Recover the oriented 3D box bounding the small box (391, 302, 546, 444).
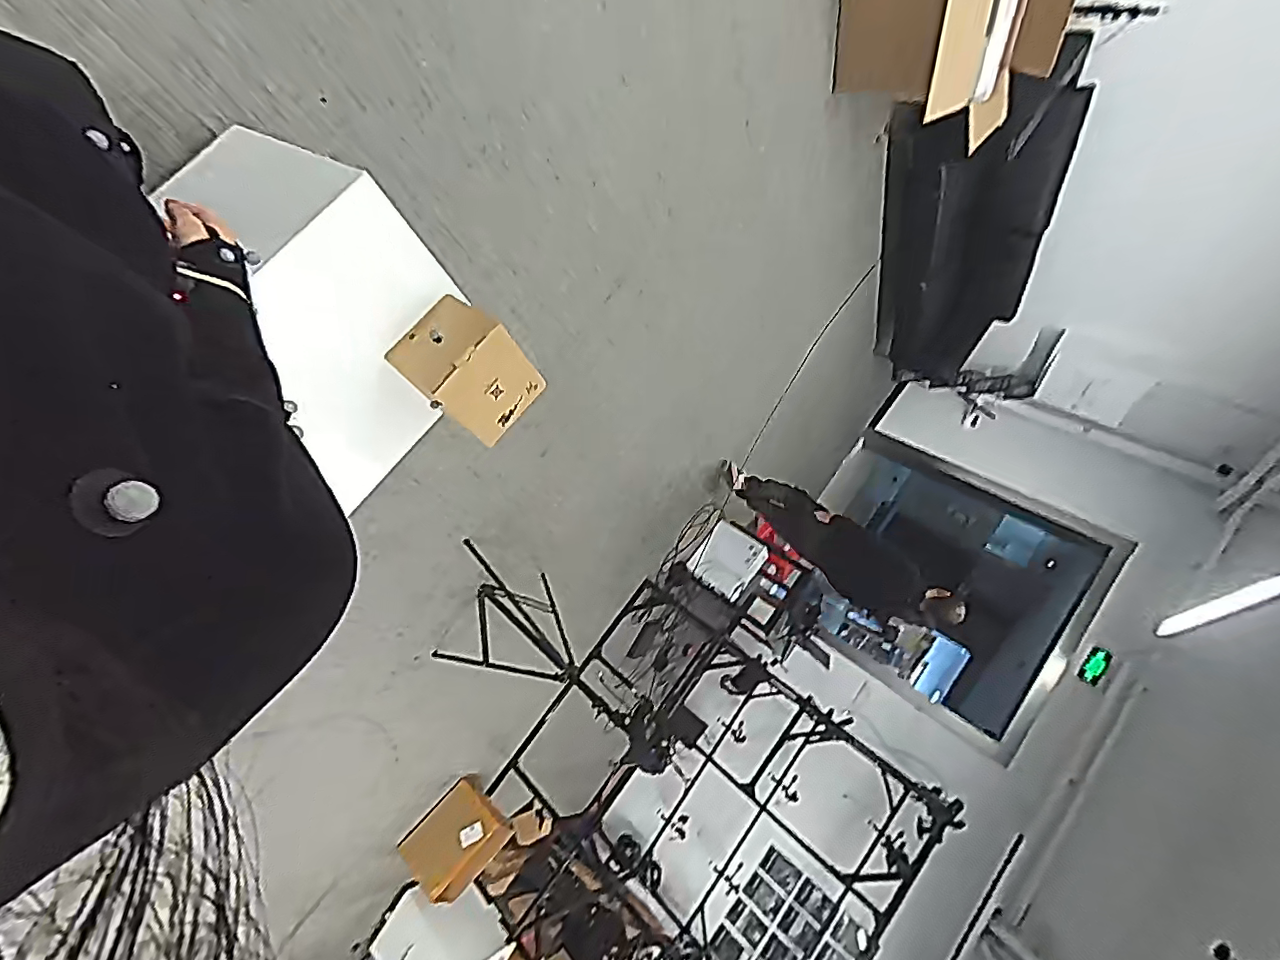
[{"bbox_3d":[-0.312,-0.201,0.987,0.168,0.176,0.179,-50,147,-10],"label":"small box"}]
